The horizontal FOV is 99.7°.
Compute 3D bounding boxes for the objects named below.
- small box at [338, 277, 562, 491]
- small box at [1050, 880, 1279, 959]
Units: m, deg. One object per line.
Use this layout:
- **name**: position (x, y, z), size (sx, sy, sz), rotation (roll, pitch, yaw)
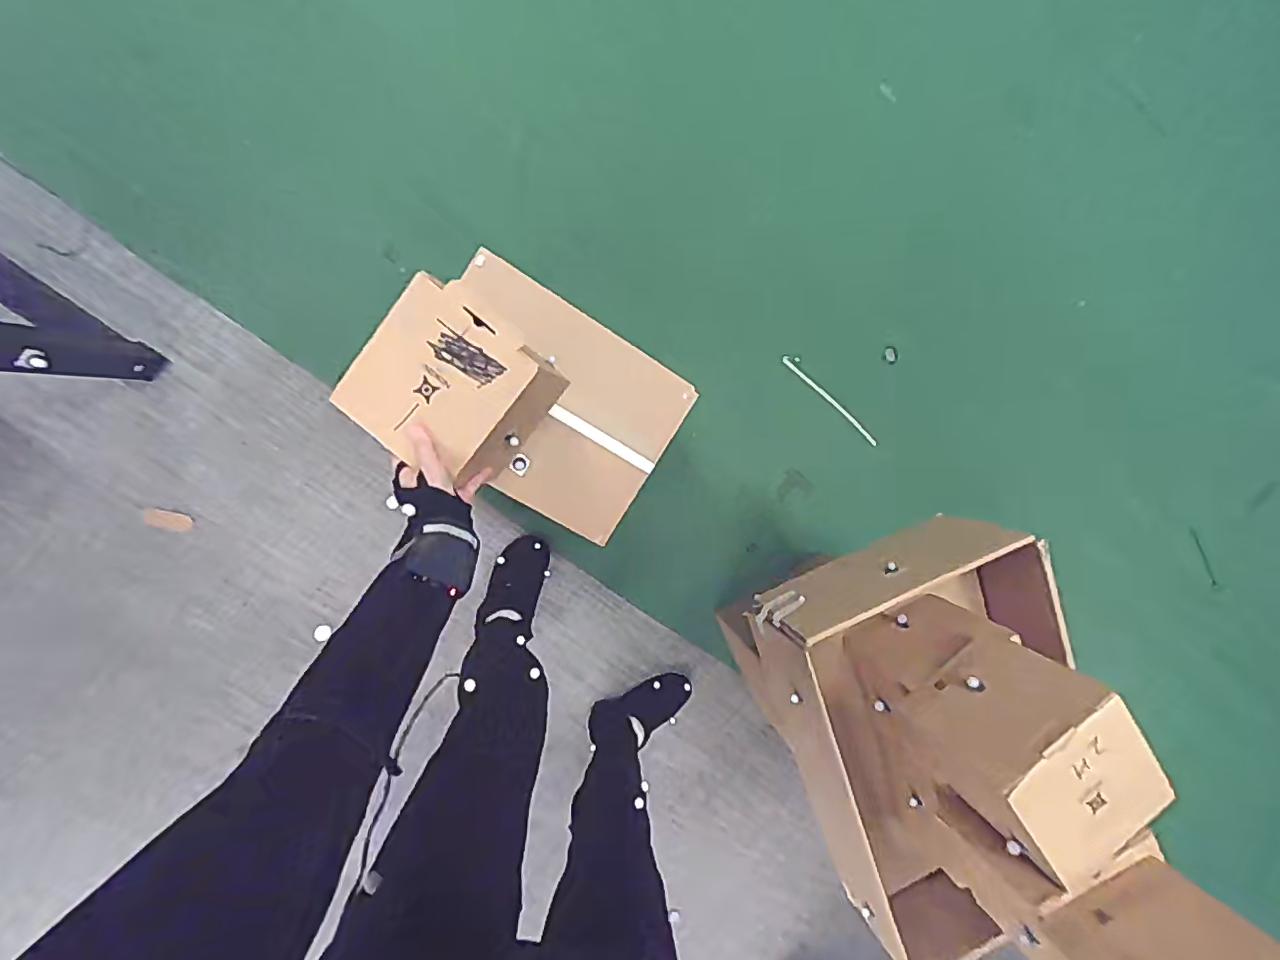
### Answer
- **small box**: position (-0.214, -0.110, 0.666), size (0.168, 0.176, 0.179), rotation (39, 97, 1)
- **small box**: position (0.548, 0.539, 0.524), size (0.168, 0.176, 0.179), rotation (-21, 97, -7)
